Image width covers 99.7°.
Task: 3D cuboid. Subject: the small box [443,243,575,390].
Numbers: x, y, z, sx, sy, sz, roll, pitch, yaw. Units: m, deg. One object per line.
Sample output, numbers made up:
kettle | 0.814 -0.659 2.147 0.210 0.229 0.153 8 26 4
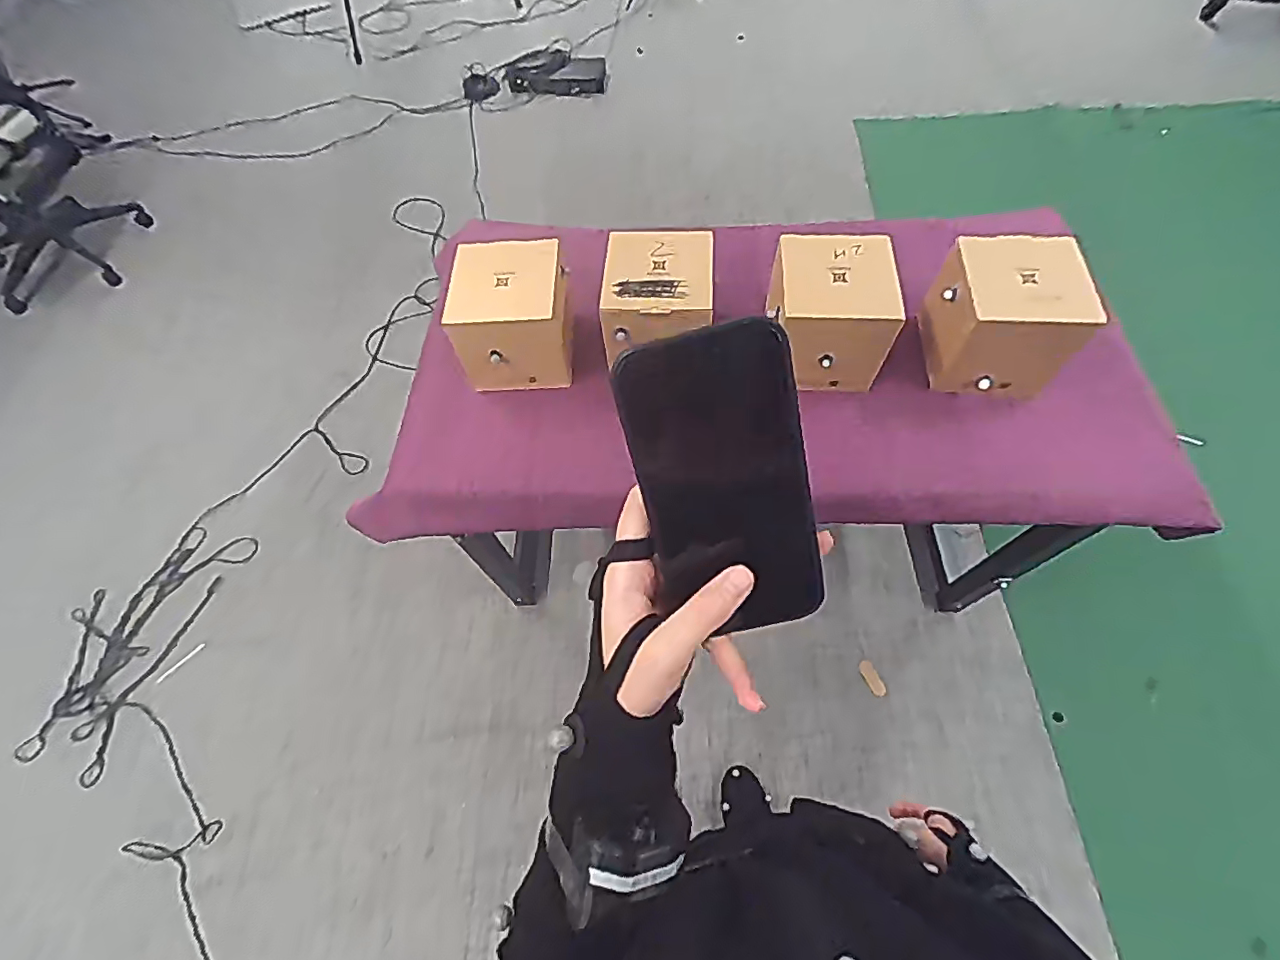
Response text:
small box | -0.204 -0.262 0.898 0.168 0.176 0.179 -3 60 3

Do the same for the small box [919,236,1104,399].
small box | 0.554 -0.249 0.839 0.168 0.176 0.179 4 62 7

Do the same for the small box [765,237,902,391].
small box | 0.295 -0.259 0.861 0.168 0.176 0.179 3 61 5
